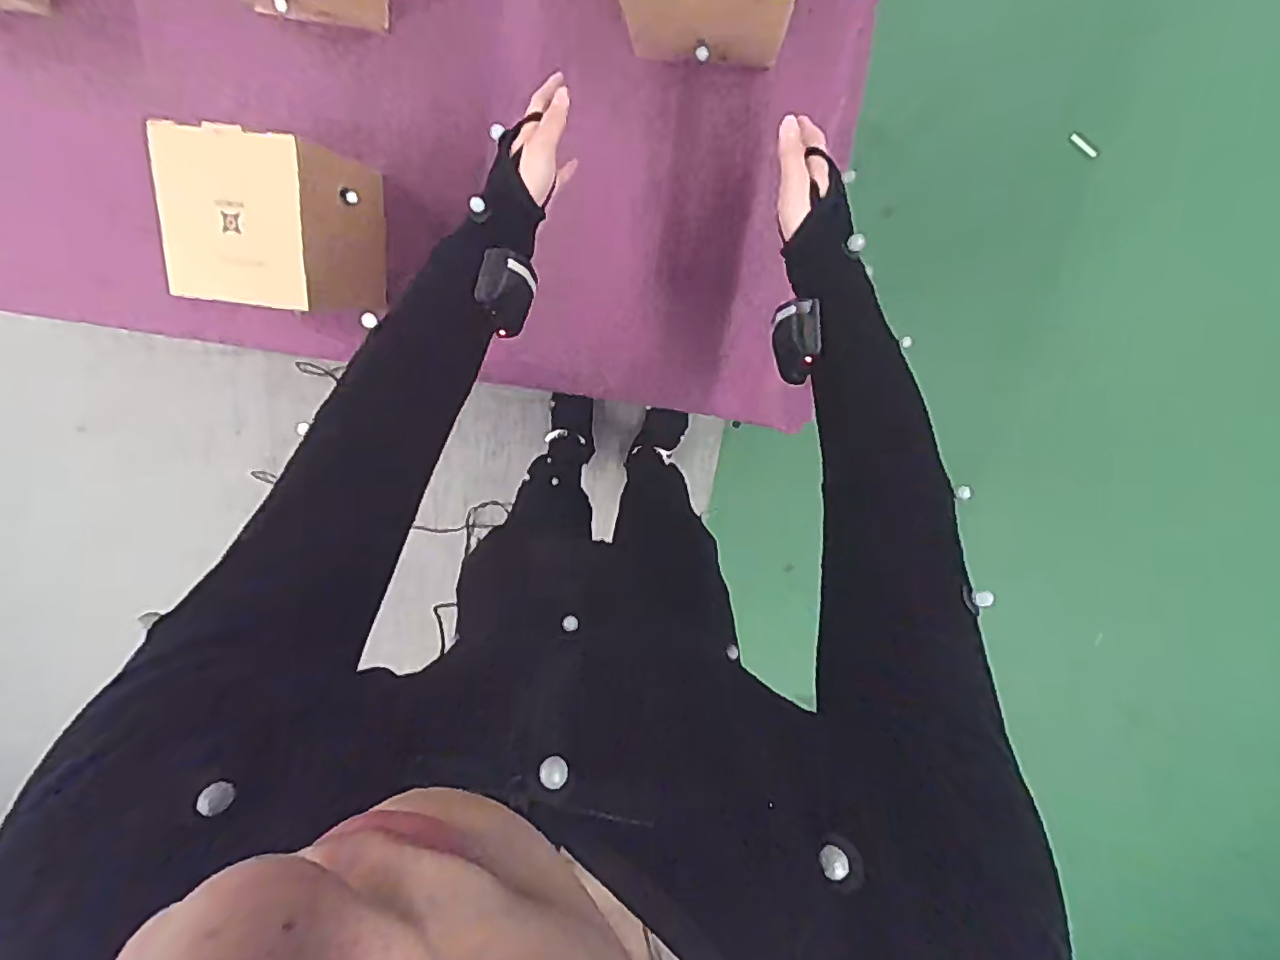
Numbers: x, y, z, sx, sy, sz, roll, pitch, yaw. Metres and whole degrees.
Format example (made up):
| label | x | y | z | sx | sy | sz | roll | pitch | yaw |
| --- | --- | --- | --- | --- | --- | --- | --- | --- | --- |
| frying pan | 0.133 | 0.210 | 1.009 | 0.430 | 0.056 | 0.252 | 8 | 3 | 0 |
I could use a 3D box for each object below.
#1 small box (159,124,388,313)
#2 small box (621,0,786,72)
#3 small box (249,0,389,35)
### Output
| label | x | y | z | sx | sy | sz | roll | pitch | yaw |
| --- | --- | --- | --- | --- | --- | --- | --- | --- | --- |
| small box | -0.436 | -0.311 | 0.675 | 0.168 | 0.176 | 0.179 | 9 | 109 | 3 |
| small box | 0.069 | -0.546 | 0.537 | 0.168 | 0.176 | 0.179 | 8 | 111 | 6 |
| small box | -0.381 | -0.613 | 0.563 | 0.168 | 0.176 | 0.179 | 10 | 112 | 1 |
